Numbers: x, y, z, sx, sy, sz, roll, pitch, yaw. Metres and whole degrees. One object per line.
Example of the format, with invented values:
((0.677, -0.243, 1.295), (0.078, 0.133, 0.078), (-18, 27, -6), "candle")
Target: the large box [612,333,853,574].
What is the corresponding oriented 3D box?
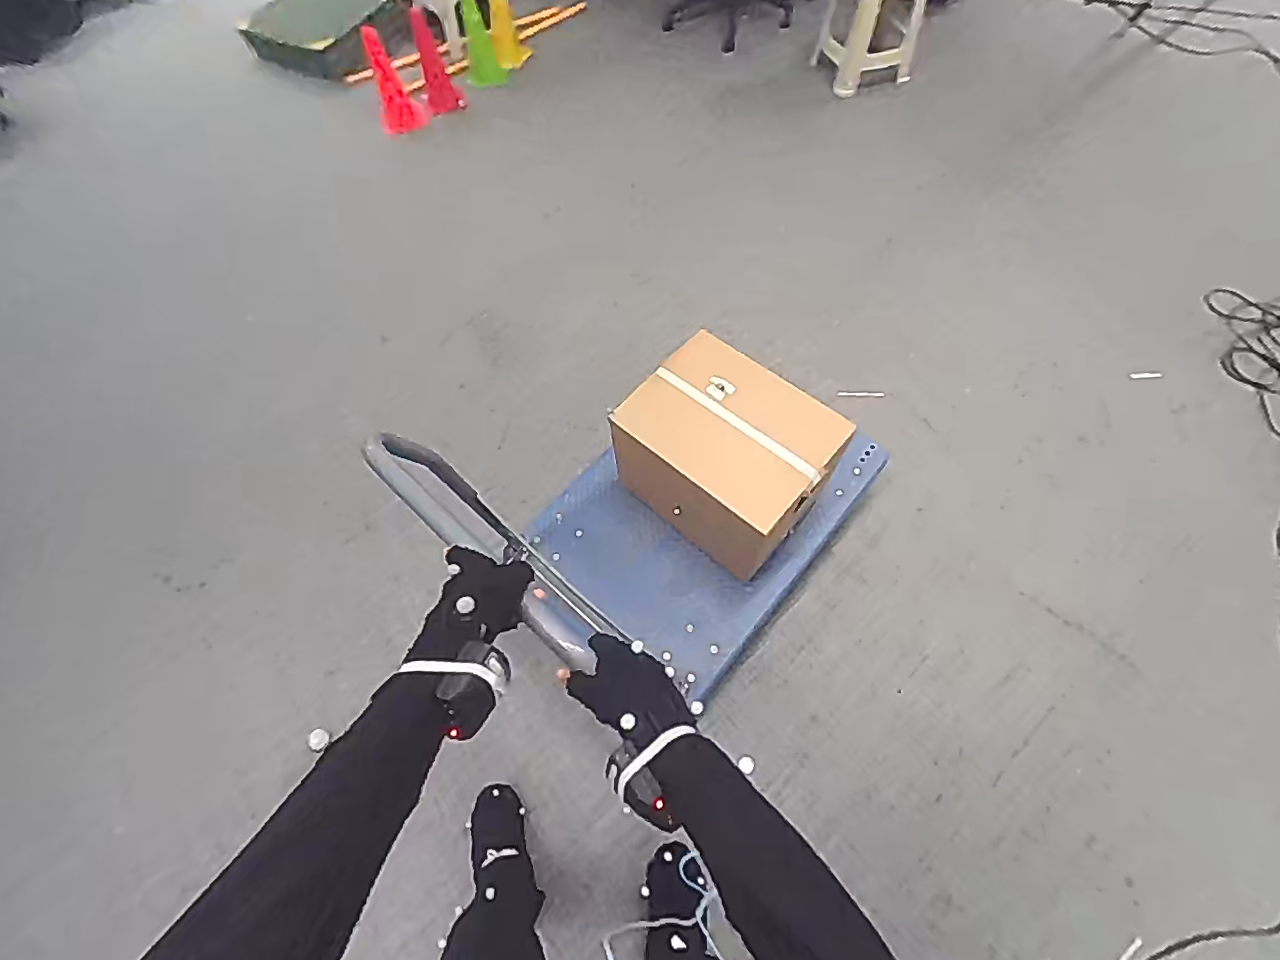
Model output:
((0.199, -0.053, 1.243), (0.408, 0.320, 0.320), (37, 70, 21), "large box")
